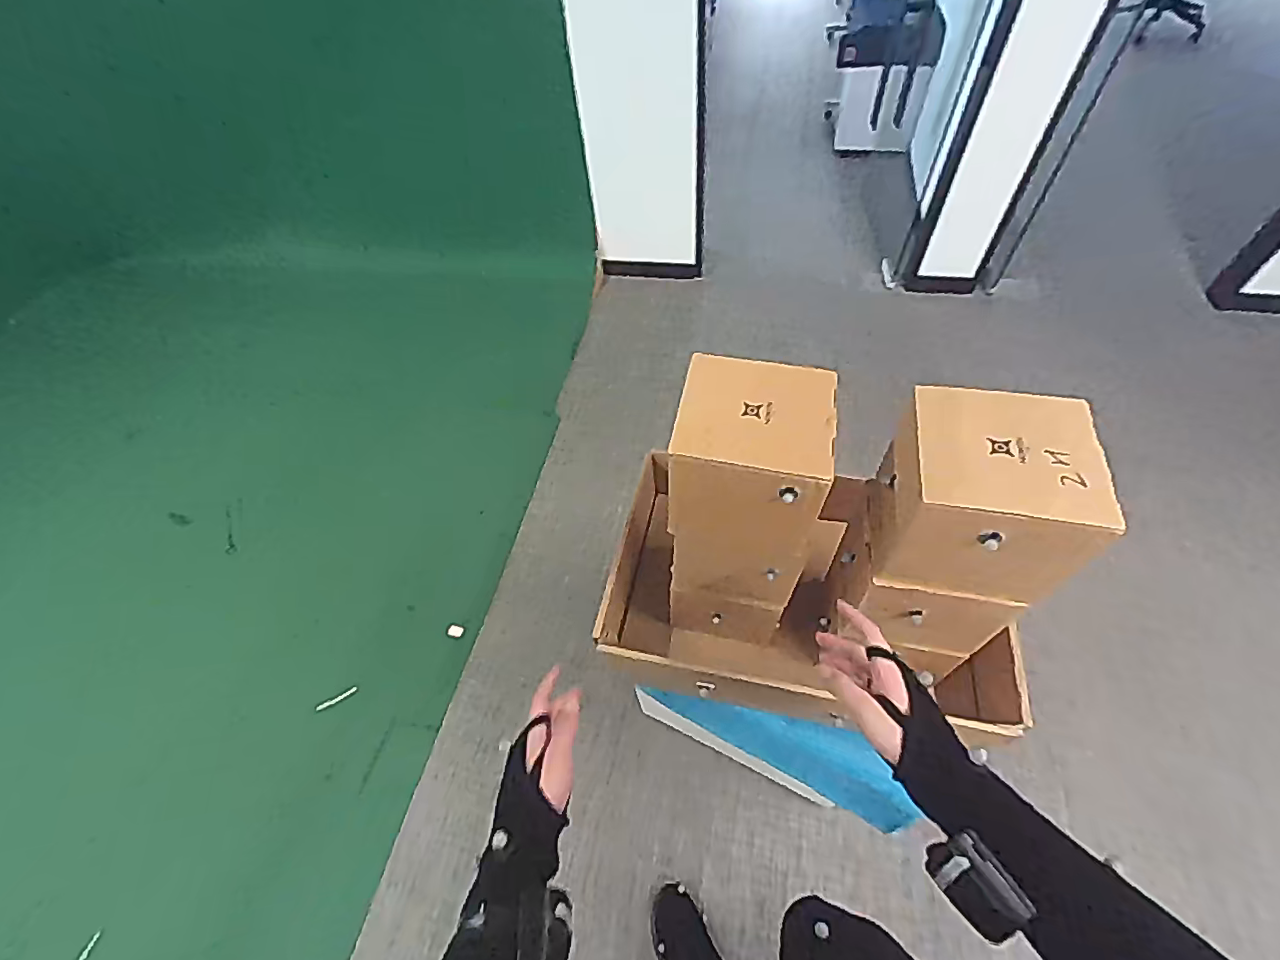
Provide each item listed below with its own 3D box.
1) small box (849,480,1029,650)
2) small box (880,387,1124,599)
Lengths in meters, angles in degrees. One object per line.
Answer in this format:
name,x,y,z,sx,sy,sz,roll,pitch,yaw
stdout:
small box,0.389,0.120,0.743,0.179,0.176,0.168,5,55,13
small box,0.380,0.018,0.612,0.179,0.176,0.168,8,56,13
